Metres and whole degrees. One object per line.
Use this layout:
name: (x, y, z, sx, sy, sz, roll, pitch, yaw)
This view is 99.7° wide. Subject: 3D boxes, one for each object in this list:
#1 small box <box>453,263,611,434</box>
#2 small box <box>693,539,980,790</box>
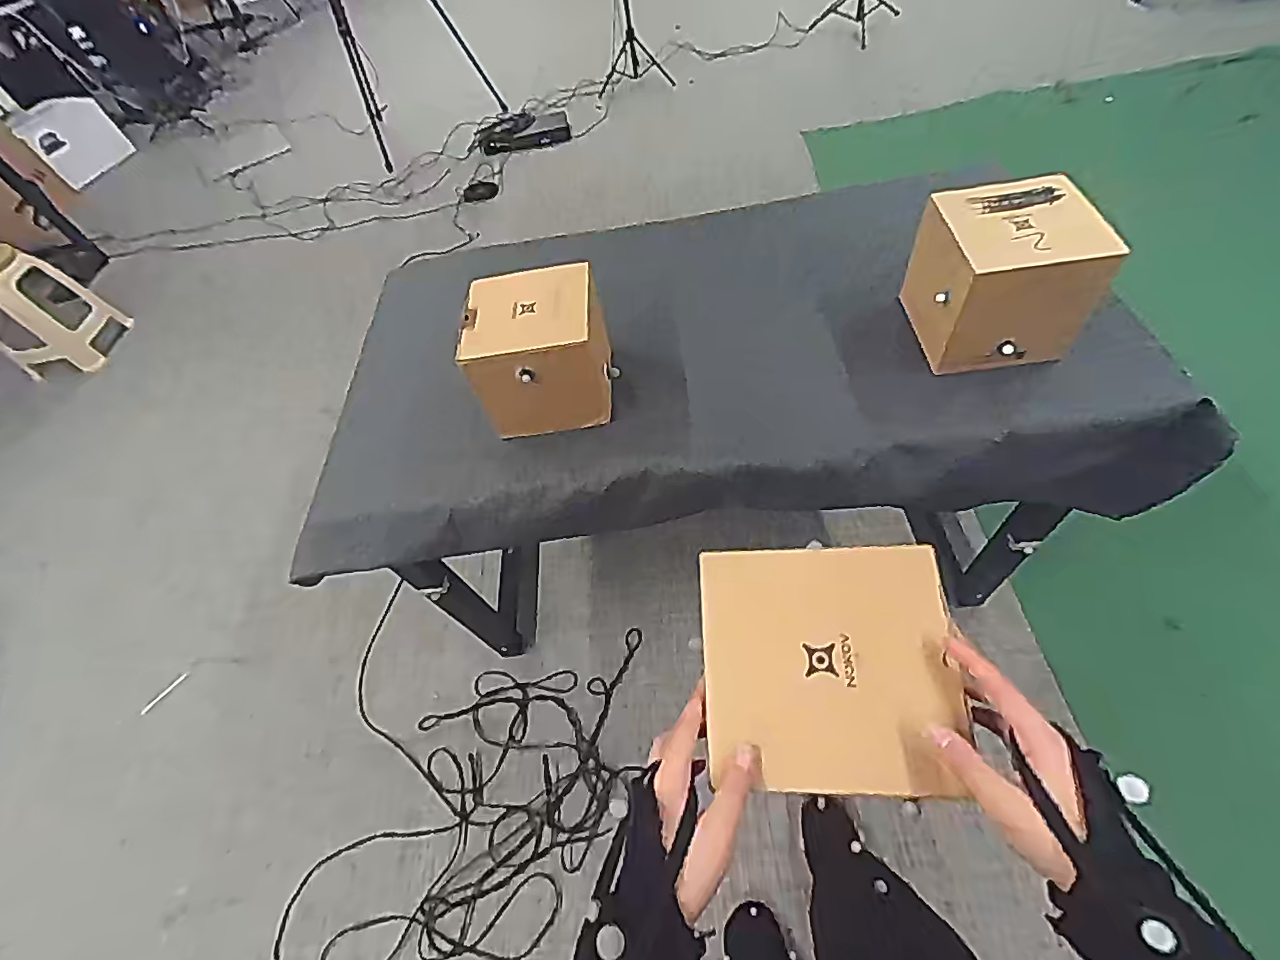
small box: (-0.143, -0.182, 0.784, 0.179, 0.176, 0.168, -6, 56, 5)
small box: (0.138, 0.154, 0.449, 0.179, 0.176, 0.168, -2, 65, 7)
